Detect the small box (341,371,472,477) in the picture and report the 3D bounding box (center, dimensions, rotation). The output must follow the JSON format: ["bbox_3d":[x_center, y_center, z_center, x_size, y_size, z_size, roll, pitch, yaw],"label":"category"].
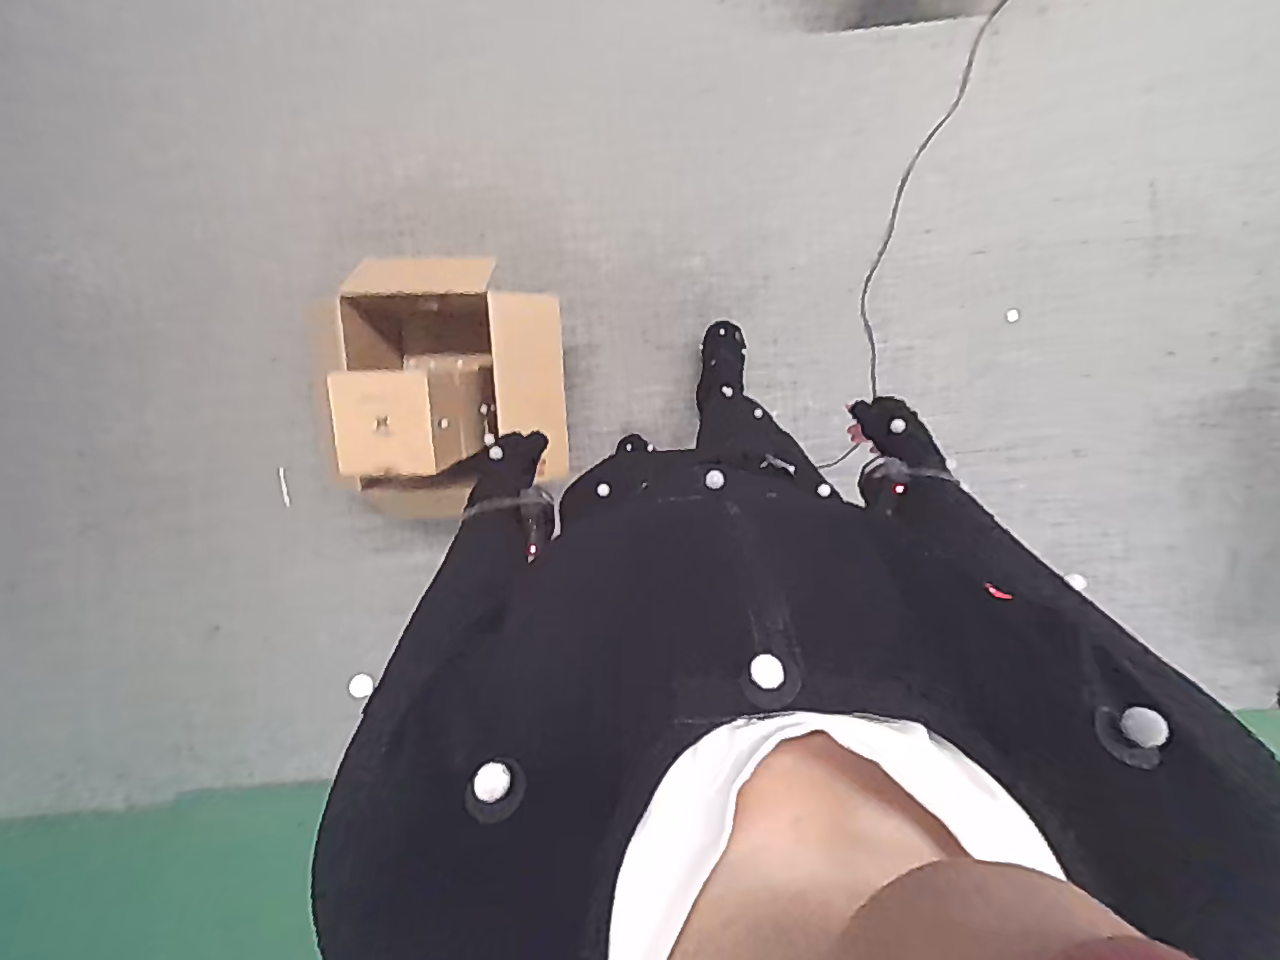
[{"bbox_3d":[-0.420,-0.110,1.006,0.168,0.176,0.179,-3,102,-1],"label":"small box"}]
